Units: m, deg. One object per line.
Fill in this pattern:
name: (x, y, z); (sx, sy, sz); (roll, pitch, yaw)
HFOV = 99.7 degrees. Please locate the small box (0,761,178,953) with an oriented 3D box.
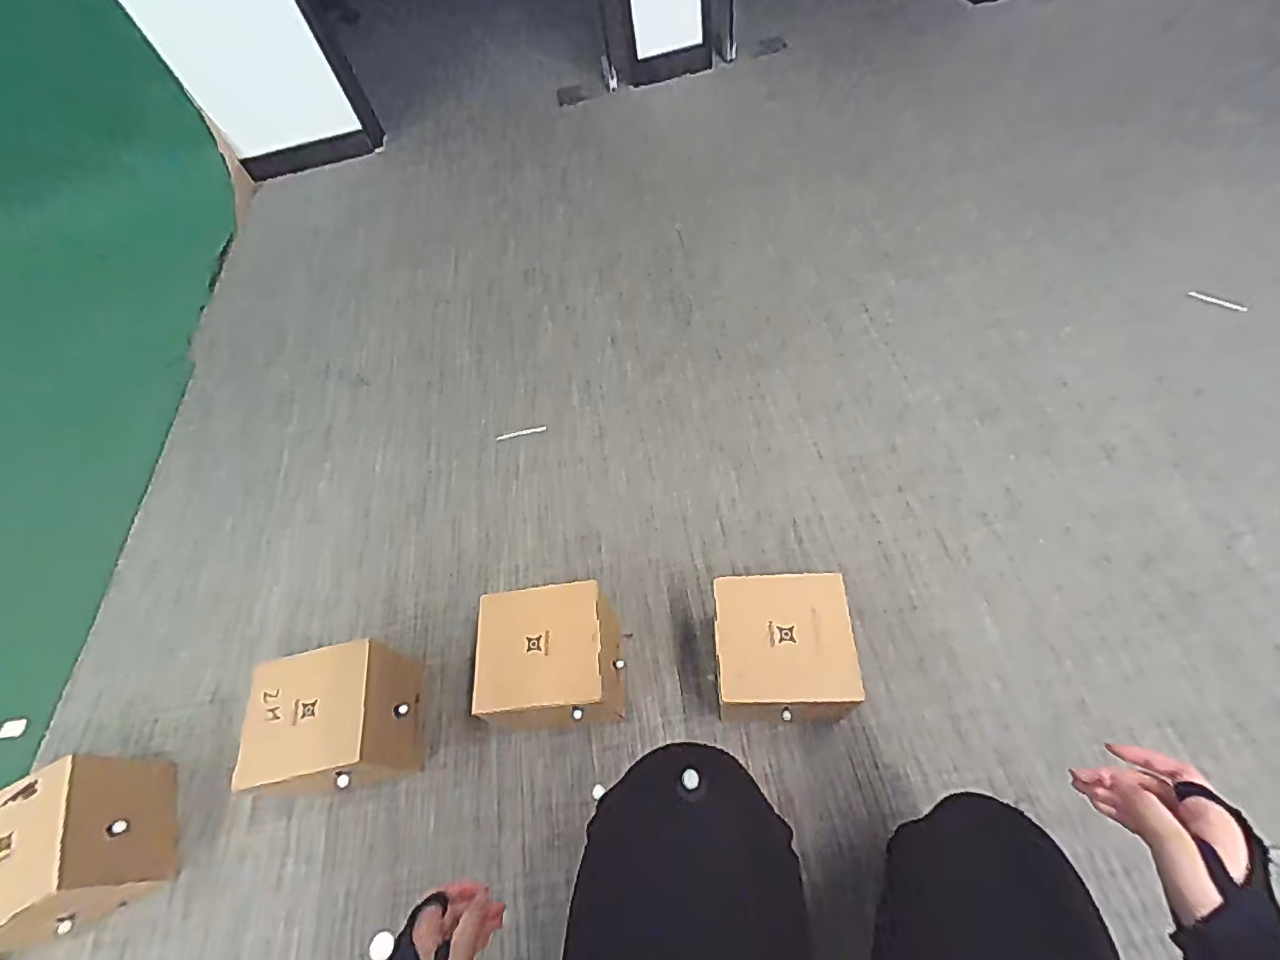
small box: (-0.804, 0.528, 0.766); (0.168, 0.176, 0.179); (-27, 58, -7)

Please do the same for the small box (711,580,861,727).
small box: (0.194, 0.250, 0.764); (0.179, 0.176, 0.168); (-3, 58, 8)

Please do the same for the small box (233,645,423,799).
small box: (-0.443, 0.363, 0.803); (0.179, 0.176, 0.168); (-13, 56, 1)

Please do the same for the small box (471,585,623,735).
small box: (-0.129, 0.274, 0.807); (0.179, 0.176, 0.168); (-8, 57, 4)
